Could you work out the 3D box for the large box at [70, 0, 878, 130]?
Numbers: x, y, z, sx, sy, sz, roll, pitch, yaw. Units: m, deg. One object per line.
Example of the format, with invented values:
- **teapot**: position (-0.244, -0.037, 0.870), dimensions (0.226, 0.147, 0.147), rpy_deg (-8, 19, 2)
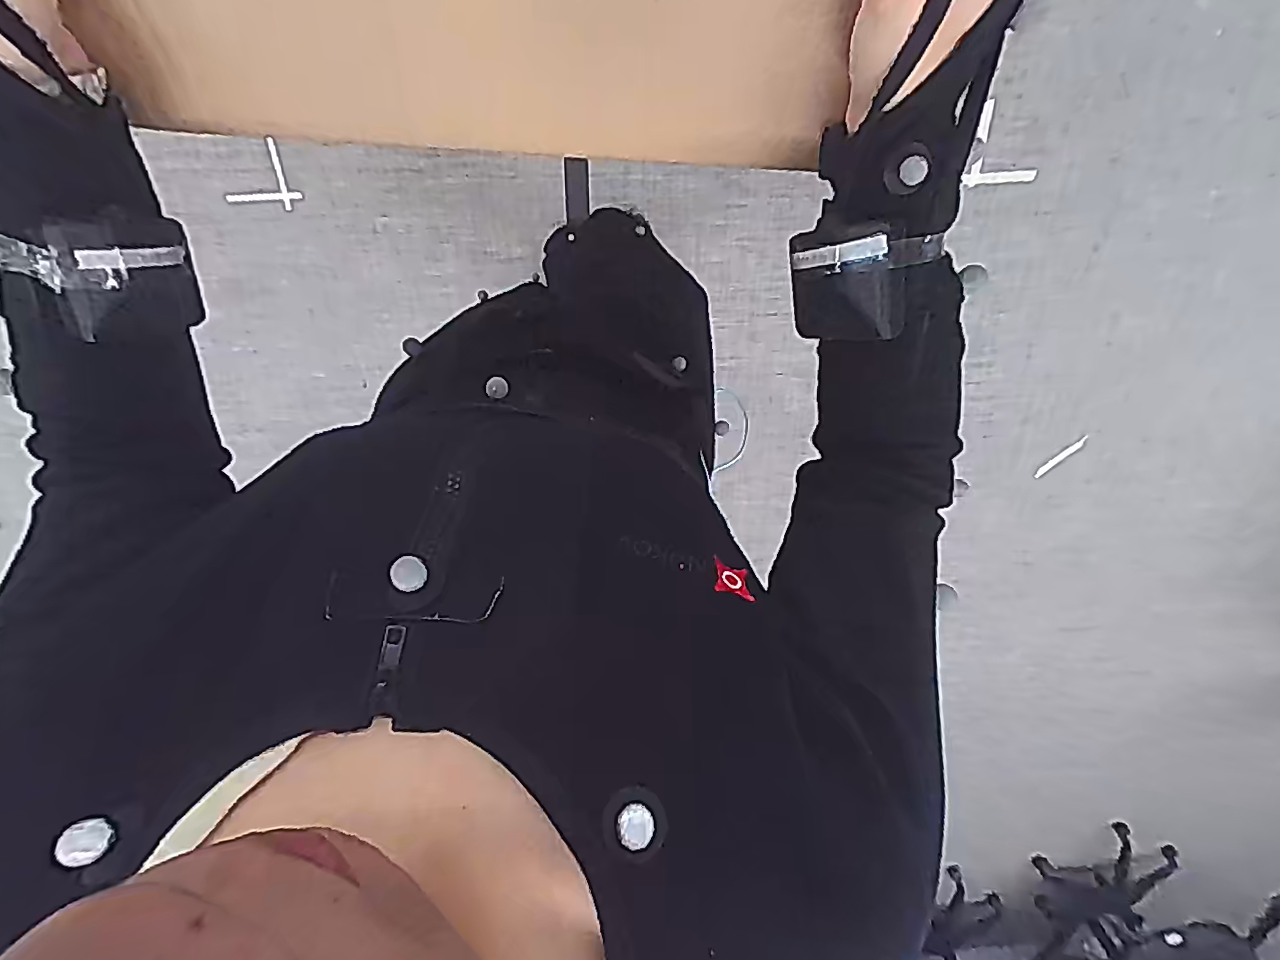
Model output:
- **large box**: position (-0.078, -0.416, 0.273), dimensions (0.408, 0.320, 0.320), rpy_deg (1, 145, -3)
